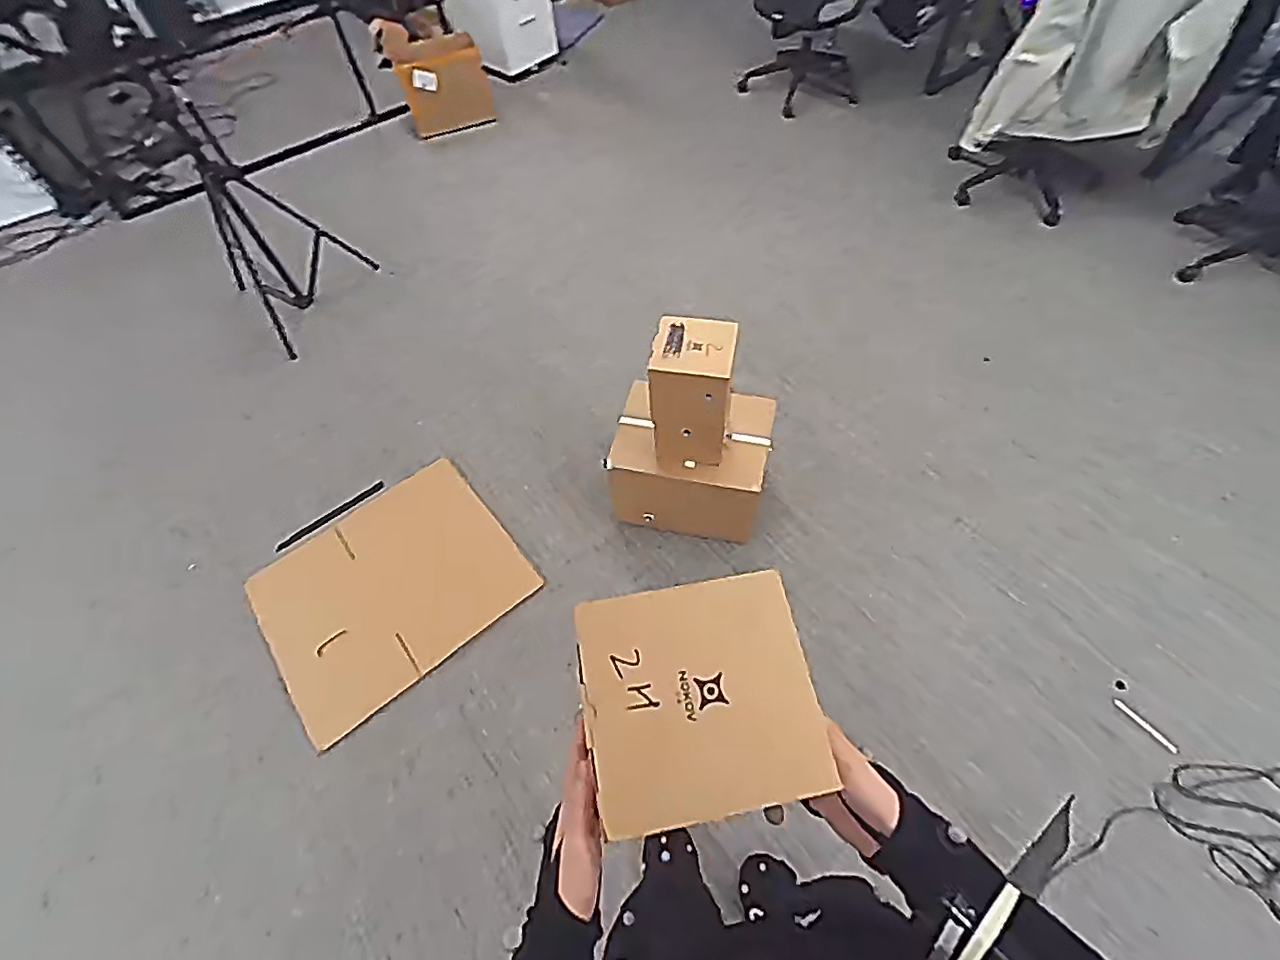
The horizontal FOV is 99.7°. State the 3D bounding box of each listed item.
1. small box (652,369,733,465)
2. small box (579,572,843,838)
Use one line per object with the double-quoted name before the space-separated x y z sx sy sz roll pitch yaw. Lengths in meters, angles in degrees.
"small box" 0.133 -0.155 1.366 0.179 0.176 0.168 8 60 8
"small box" 0.045 0.192 0.479 0.179 0.176 0.168 -8 65 -6
